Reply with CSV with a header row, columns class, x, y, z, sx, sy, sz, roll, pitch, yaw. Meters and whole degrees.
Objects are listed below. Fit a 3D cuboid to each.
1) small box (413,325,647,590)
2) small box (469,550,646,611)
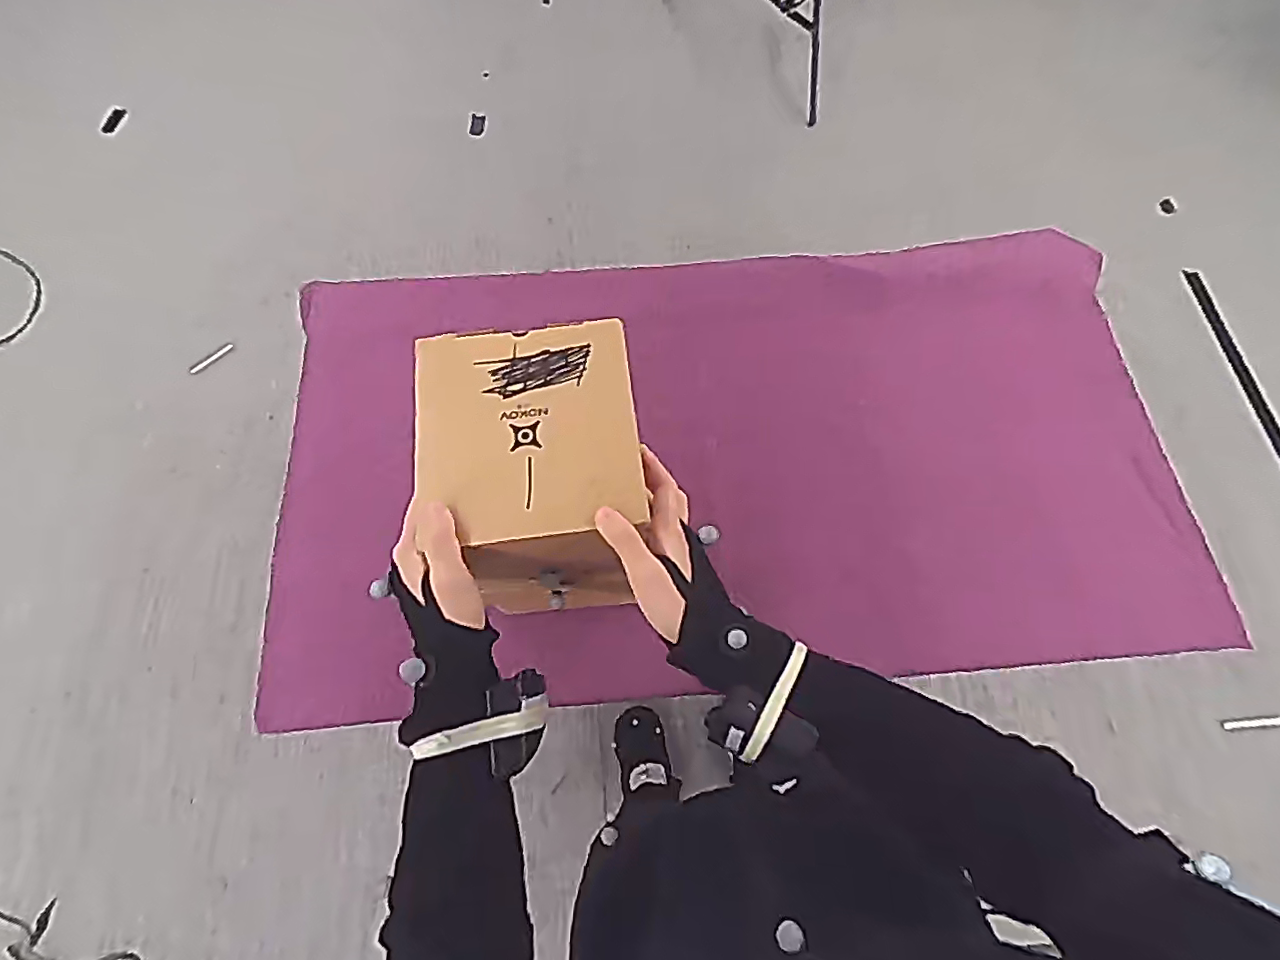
class,x,y,z,sx,sy,sz,roll,pitch,yaw
small box,-0.088,-0.010,0.481,0.168,0.176,0.179,-7,71,-3
small box,-0.088,0.056,0.631,0.179,0.176,0.168,-4,70,-2
